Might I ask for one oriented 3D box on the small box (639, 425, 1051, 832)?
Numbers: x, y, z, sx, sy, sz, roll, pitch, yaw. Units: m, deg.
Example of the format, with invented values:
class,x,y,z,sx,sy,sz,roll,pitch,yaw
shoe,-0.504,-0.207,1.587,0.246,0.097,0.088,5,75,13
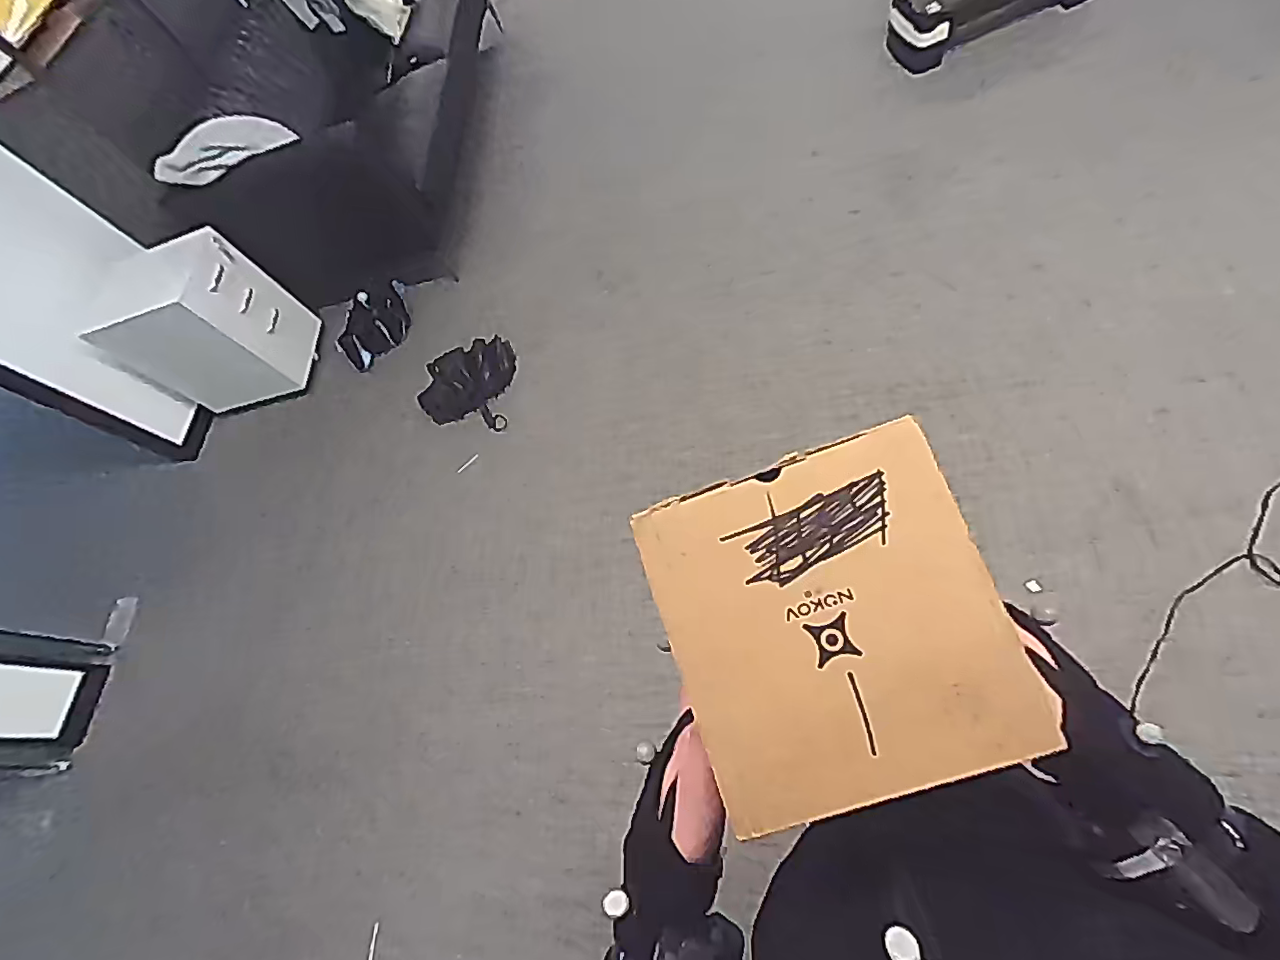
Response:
class,x,y,z,sx,sy,sz,roll,pitch,yaw
small box,0.109,0.087,0.362,0.168,0.176,0.179,-19,79,6
